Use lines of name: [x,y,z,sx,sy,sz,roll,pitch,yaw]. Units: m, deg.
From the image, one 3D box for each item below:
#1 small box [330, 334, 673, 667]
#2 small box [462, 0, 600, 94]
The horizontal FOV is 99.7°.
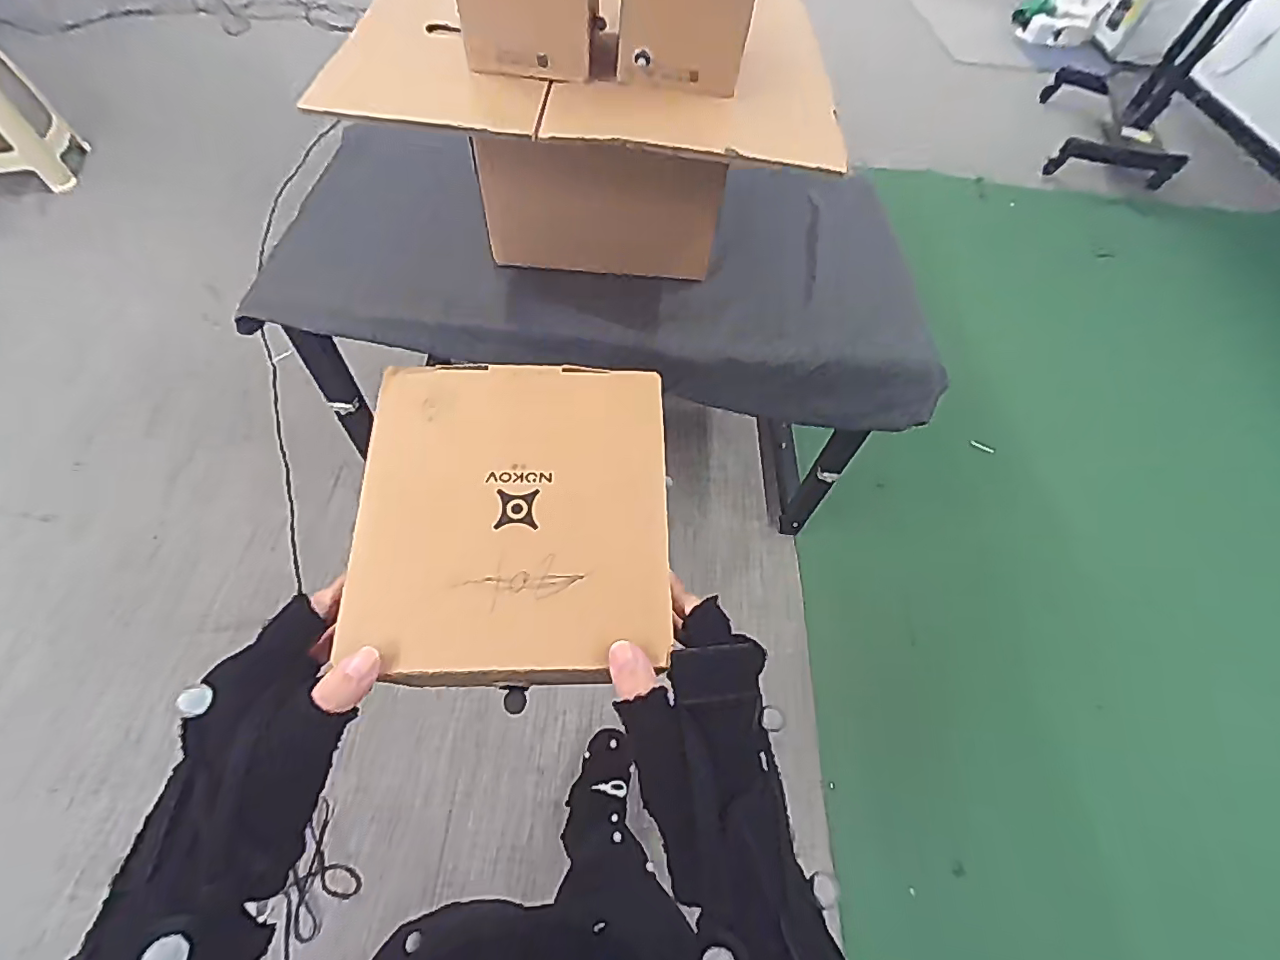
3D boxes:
small box: [-0.073,0.027,0.365,0.168,0.176,0.179,1,67,-5]
small box: [-0.142,-0.657,0.726,0.168,0.176,0.179,4,57,-1]
